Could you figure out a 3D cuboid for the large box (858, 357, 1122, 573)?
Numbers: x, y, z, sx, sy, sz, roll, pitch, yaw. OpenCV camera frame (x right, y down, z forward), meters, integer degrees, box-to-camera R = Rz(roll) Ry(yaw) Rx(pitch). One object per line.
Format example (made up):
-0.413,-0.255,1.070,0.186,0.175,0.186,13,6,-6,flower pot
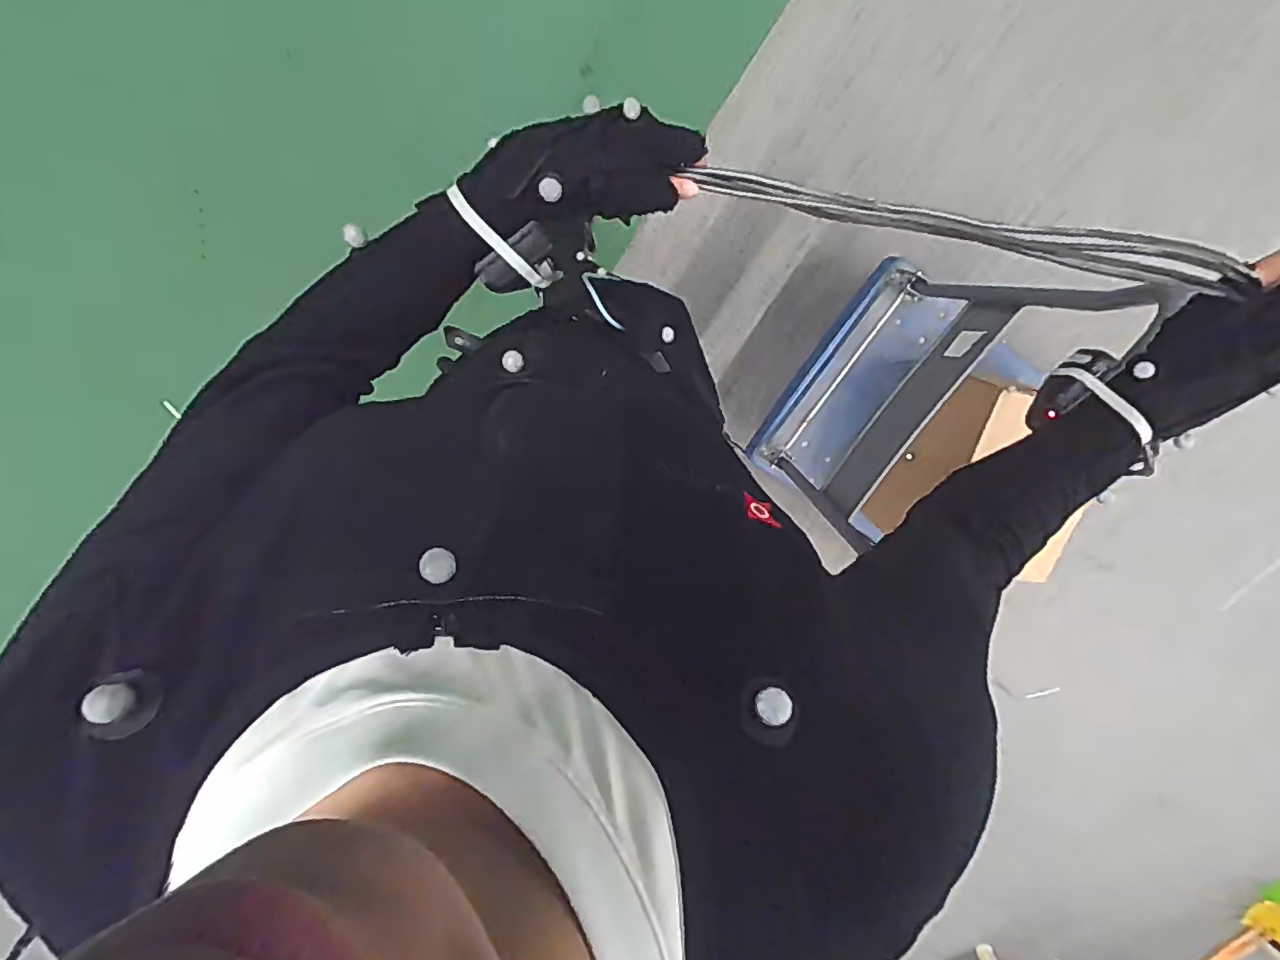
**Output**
0.779,-0.043,1.277,0.320,0.320,0.408,9,111,-11,large box
